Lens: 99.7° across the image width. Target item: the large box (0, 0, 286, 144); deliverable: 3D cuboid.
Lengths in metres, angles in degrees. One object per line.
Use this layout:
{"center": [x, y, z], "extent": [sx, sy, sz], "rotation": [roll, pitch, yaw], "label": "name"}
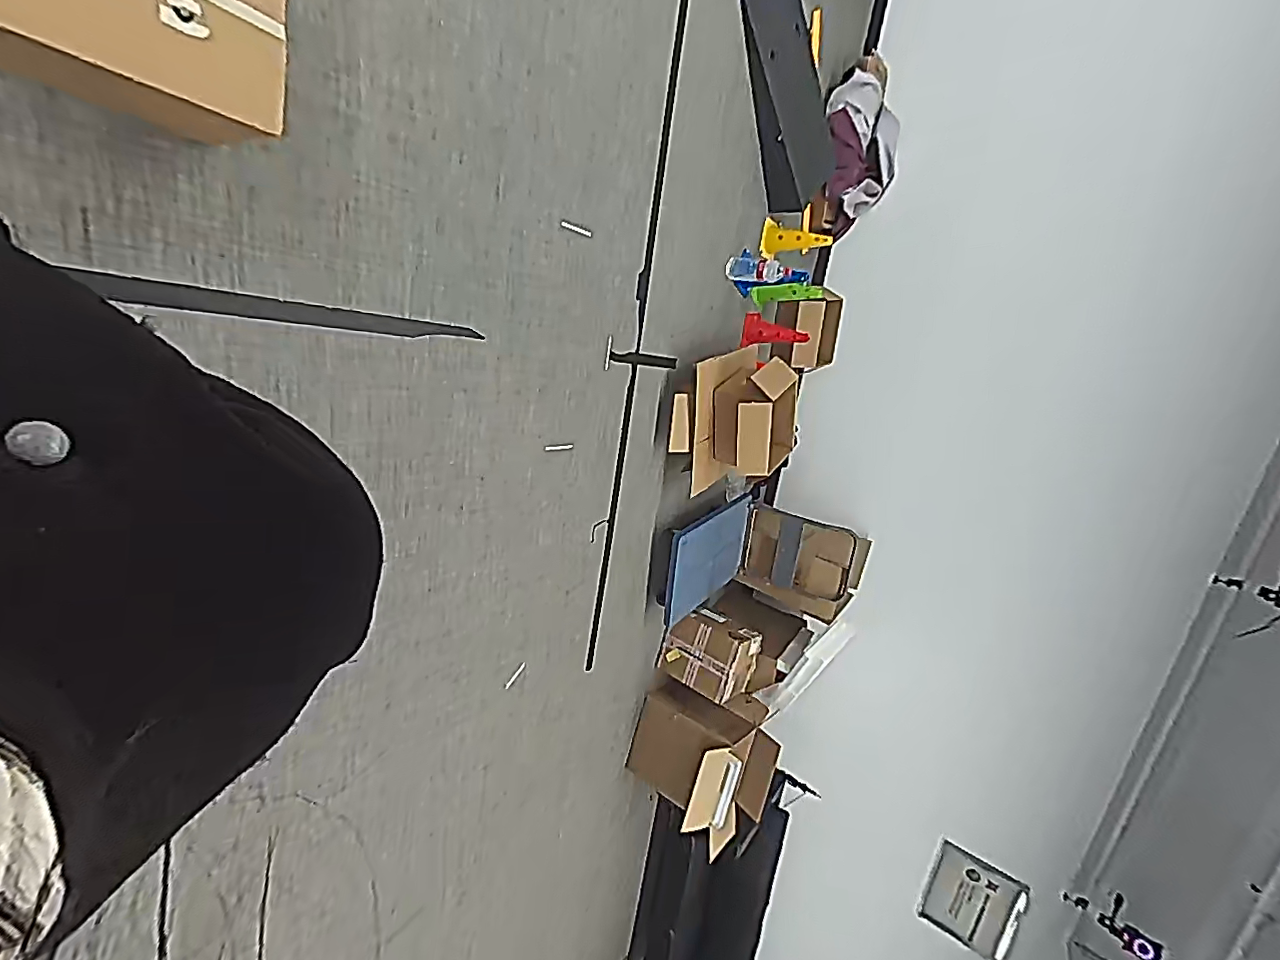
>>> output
{"center": [-0.830, -0.769, 0.824], "extent": [0.408, 0.320, 0.320], "rotation": [-8, 112, -55], "label": "large box"}
